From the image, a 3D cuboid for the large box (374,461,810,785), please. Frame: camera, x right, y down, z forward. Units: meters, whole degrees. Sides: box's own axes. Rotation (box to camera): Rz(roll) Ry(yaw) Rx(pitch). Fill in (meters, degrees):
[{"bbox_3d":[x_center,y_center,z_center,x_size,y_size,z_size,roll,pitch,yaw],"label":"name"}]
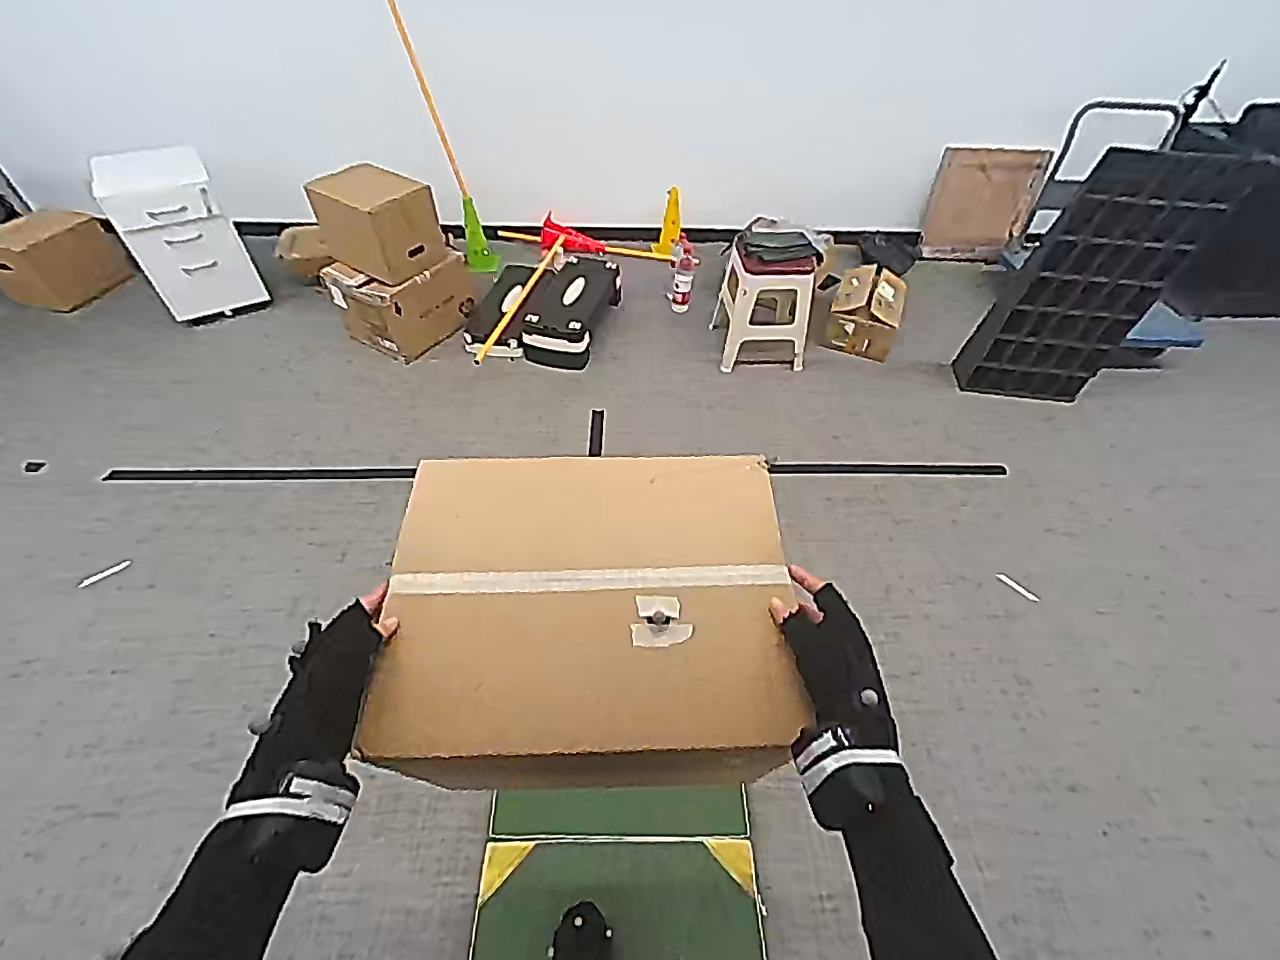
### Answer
[{"bbox_3d":[-0.052,0.190,0.692,0.408,0.320,0.320,0,56,-3],"label":"large box"}]
